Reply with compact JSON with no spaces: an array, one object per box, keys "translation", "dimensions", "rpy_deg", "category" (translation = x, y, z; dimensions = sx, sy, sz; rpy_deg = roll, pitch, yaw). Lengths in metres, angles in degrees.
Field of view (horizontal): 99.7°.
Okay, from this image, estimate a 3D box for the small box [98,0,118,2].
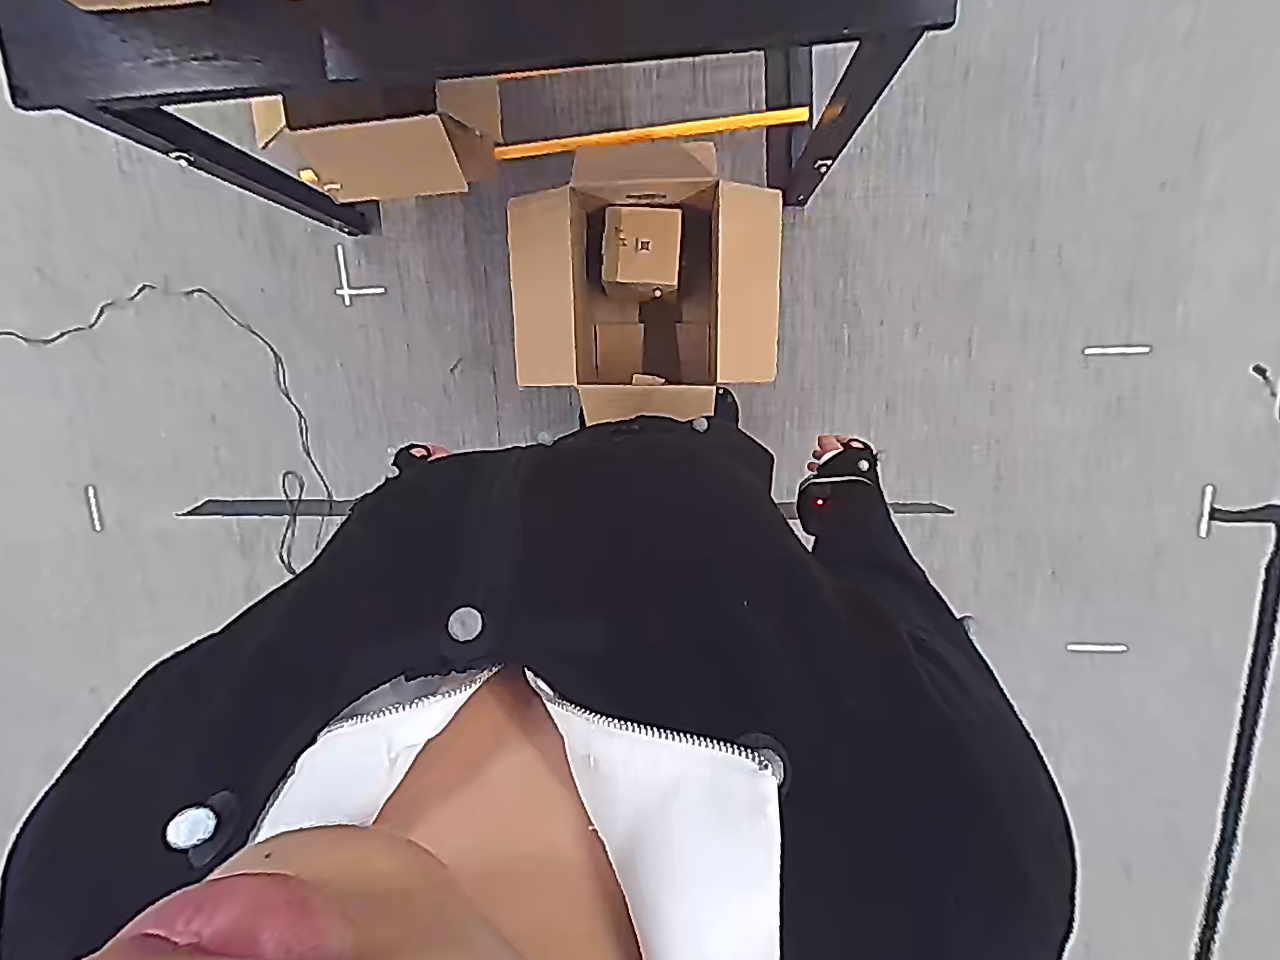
[{"translation":[-0.629,-0.664,0.583],"dimensions":[0.179,0.176,0.168],"rpy_deg":[-1,102,3],"category":"small box"}]
